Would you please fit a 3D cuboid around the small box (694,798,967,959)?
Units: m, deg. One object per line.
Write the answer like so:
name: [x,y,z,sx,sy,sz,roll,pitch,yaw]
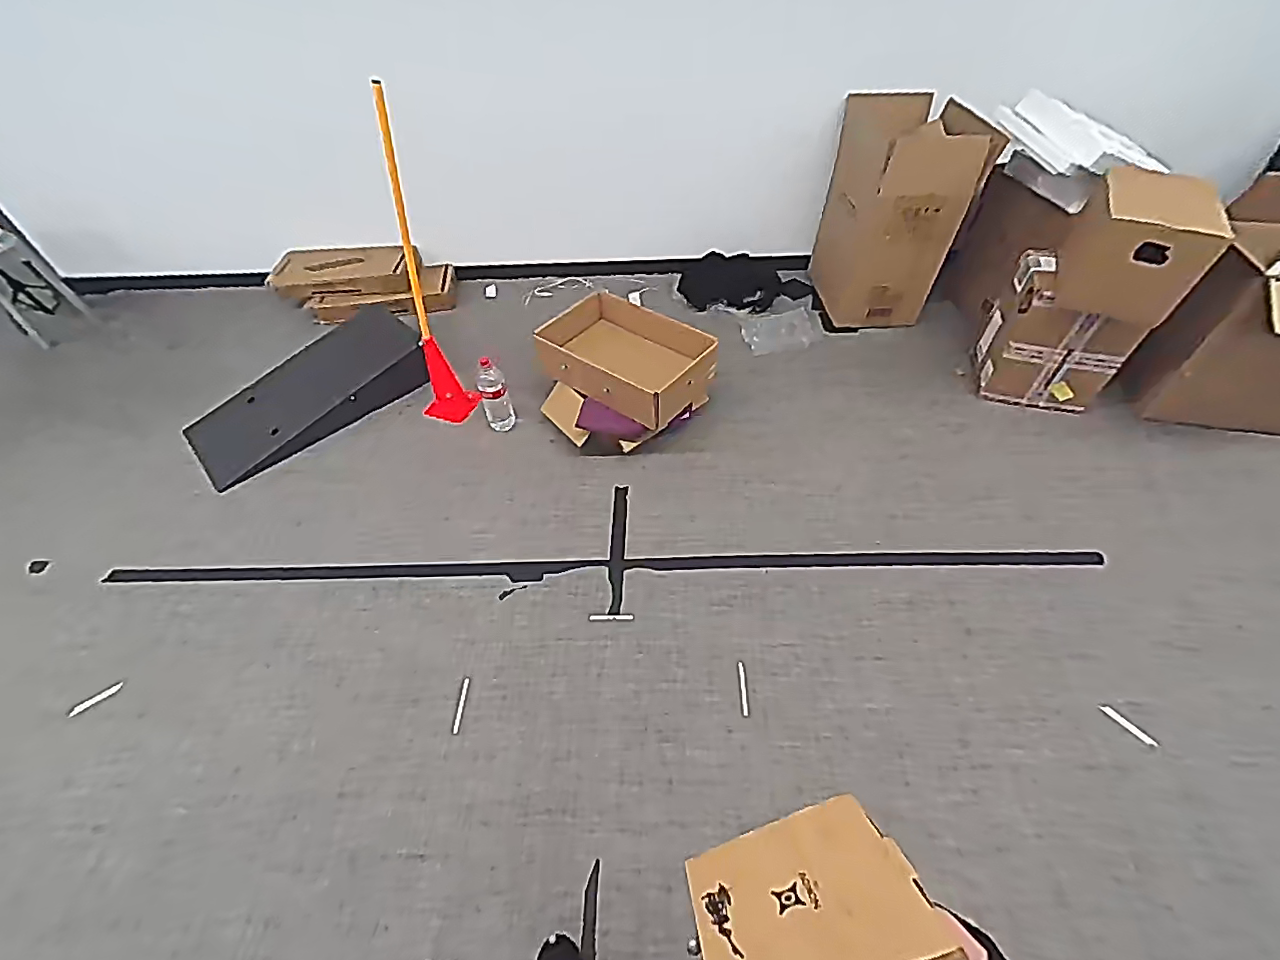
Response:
small box: [0.163,0.420,0.453,0.179,0.168,0.176,-20,93,-2]
